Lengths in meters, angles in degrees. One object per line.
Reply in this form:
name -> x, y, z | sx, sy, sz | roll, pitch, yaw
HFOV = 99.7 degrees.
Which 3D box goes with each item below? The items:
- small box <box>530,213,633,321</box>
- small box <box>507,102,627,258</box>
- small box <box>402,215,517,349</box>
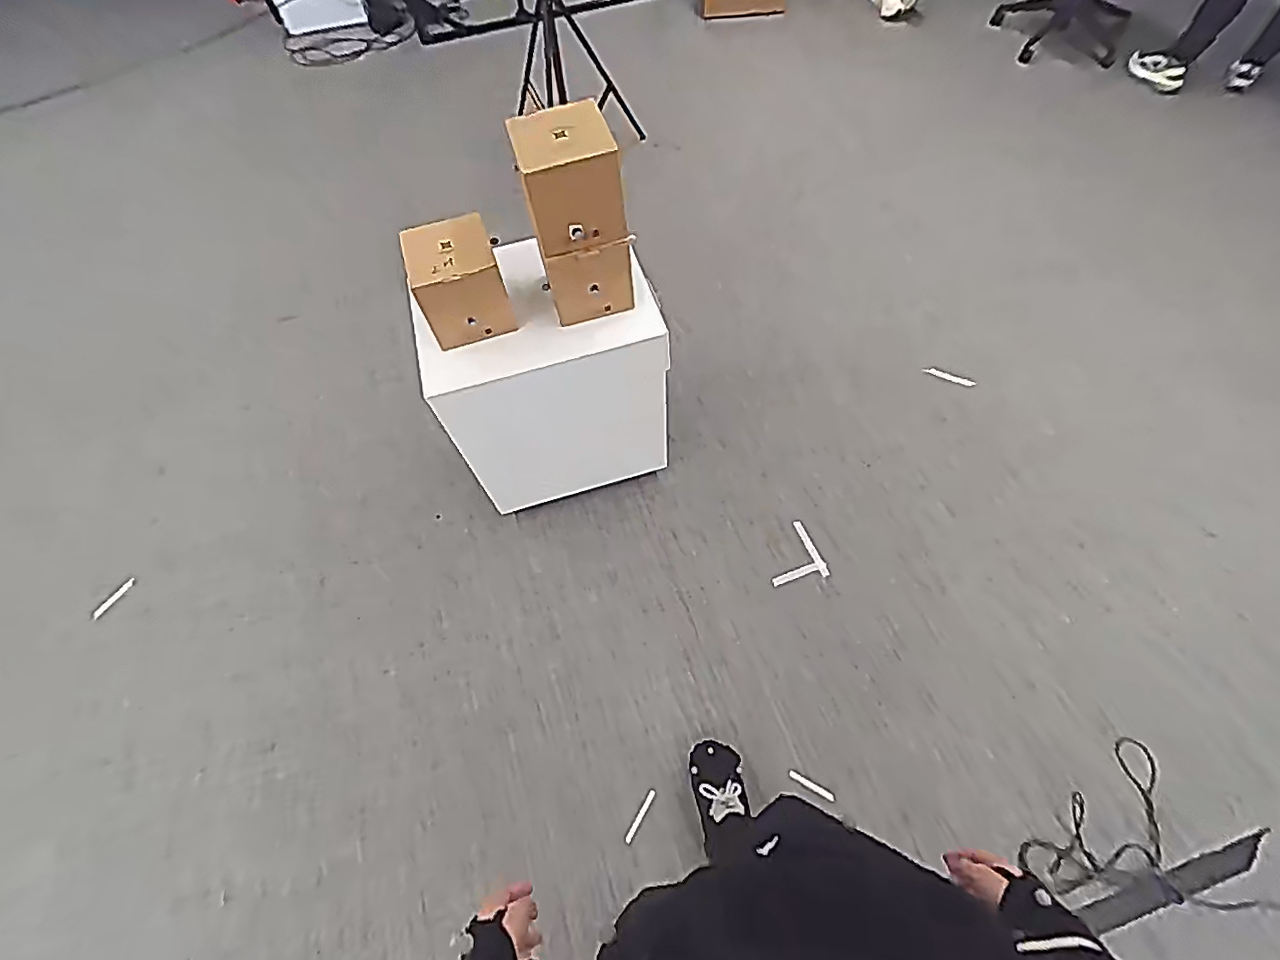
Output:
small box -> -0.116, -0.455, 1.125 | 0.168, 0.176, 0.179 | -16, 63, -4
small box -> -0.128, -0.543, 0.987 | 0.168, 0.176, 0.179 | -17, 62, -4
small box -> -0.365, -0.402, 1.109 | 0.168, 0.176, 0.179 | -18, 62, -7
